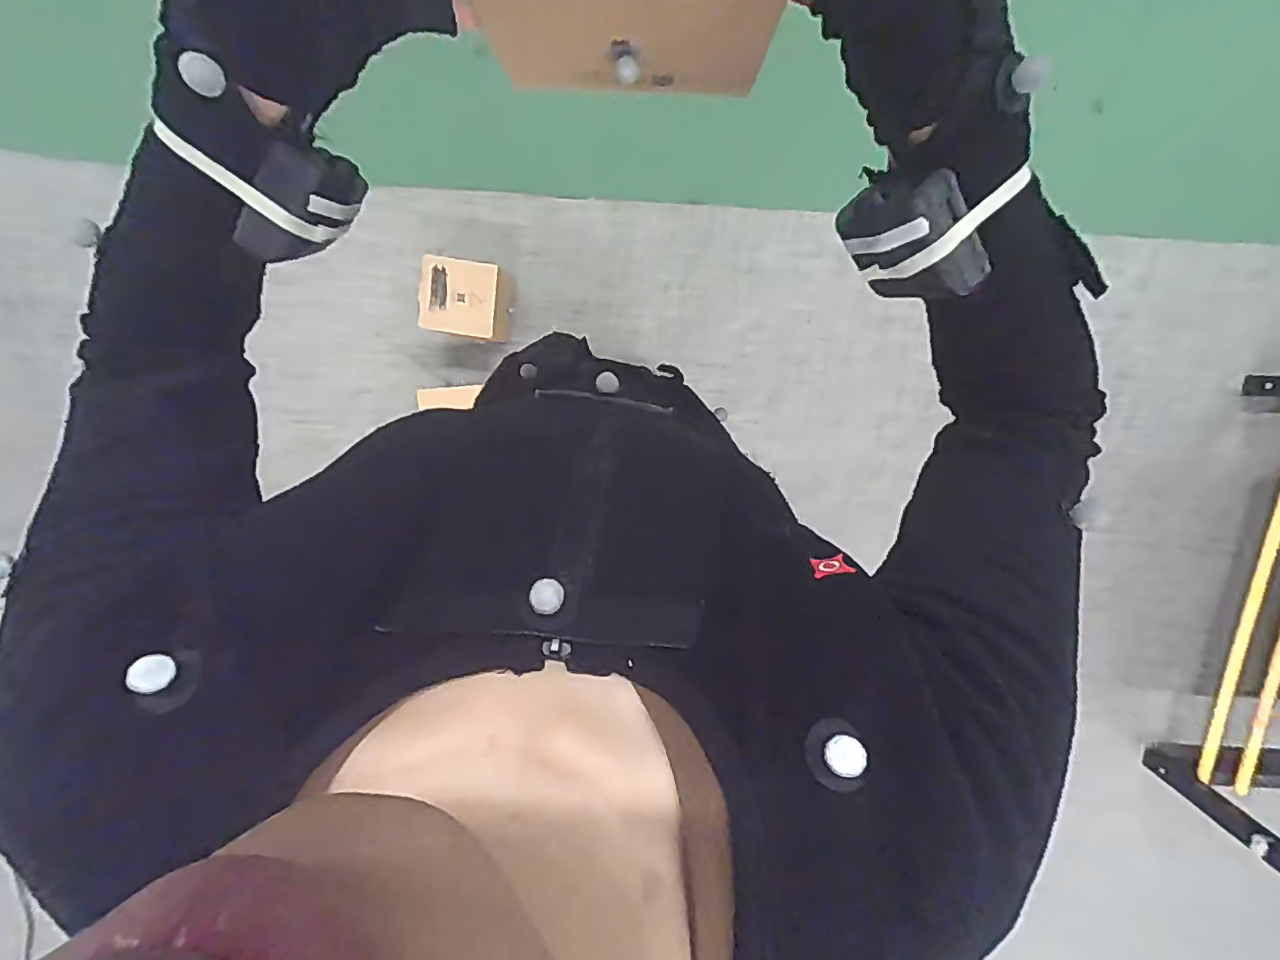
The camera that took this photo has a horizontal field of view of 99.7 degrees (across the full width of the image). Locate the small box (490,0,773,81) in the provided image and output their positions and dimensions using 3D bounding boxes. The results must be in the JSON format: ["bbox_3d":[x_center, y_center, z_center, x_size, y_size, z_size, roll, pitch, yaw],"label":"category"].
[{"bbox_3d":[-0.005,-0.339,0.266,0.168,0.176,0.179,3,104,1],"label":"small box"}]
